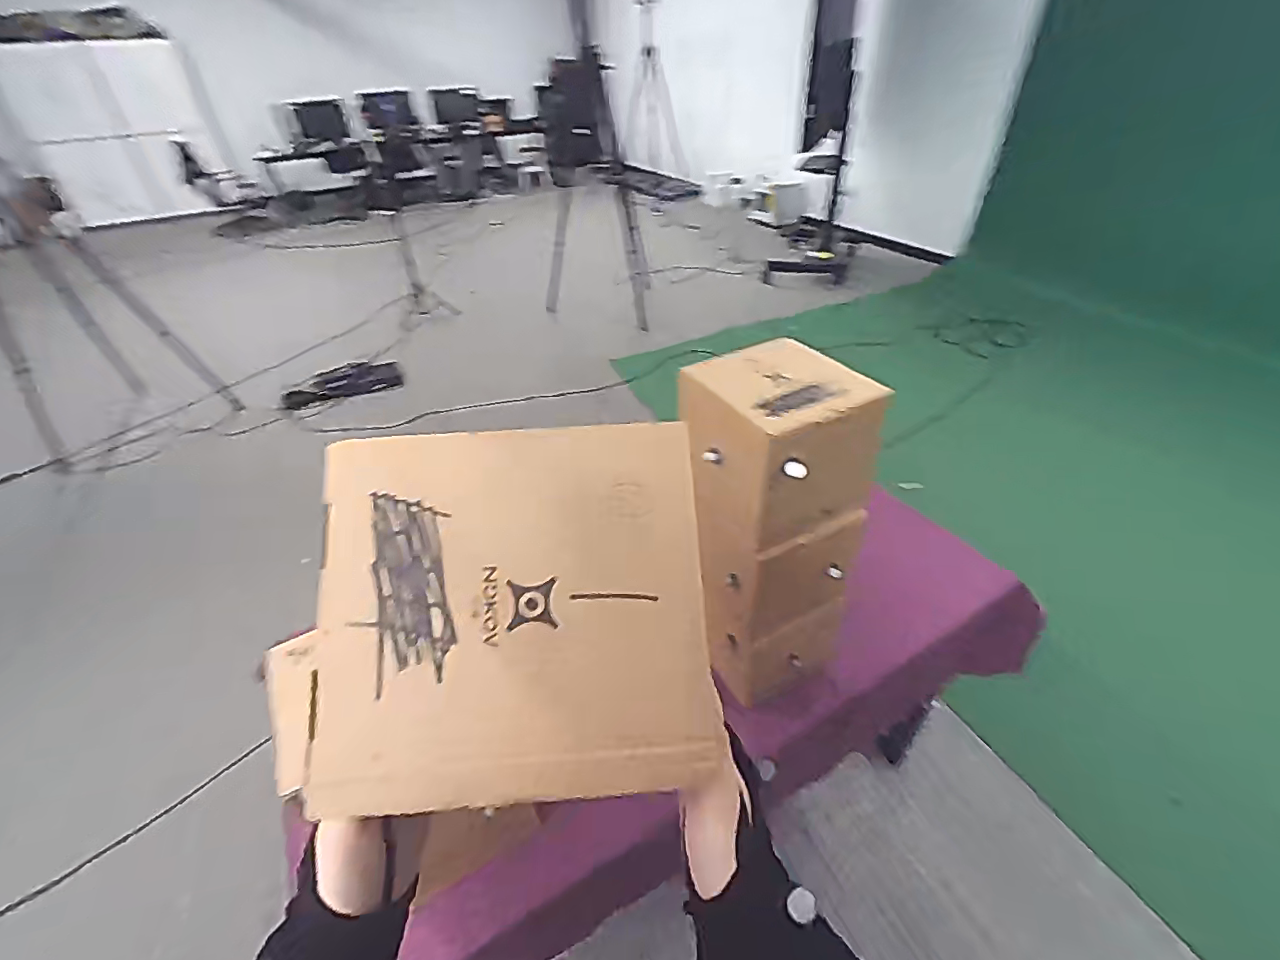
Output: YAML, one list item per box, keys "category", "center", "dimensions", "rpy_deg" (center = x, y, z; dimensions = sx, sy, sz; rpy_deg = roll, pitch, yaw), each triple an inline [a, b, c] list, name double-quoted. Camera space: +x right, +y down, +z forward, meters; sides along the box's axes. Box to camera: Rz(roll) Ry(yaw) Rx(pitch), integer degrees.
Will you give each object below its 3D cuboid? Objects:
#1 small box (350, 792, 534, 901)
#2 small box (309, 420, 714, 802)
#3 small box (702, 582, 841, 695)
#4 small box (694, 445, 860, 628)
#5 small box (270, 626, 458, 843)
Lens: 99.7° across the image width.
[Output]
- category: "small box"
  center: [-0.255, 0.384, 0.690]
  dimensions: [0.179, 0.176, 0.168]
  rpy_deg: [-23, 41, -23]
- category: "small box"
  center: [-0.058, 0.071, 0.324]
  dimensions: [0.179, 0.176, 0.168]
  rpy_deg: [-3, 78, -2]
- category: "small box"
  center: [0.185, 0.212, 0.860]
  dimensions: [0.168, 0.176, 0.179]
  rpy_deg: [-21, 41, -20]
- category: "small box"
  center: [0.174, 0.082, 0.761]
  dimensions: [0.168, 0.176, 0.179]
  rpy_deg: [-20, 40, -18]
- category: "small box"
  center: [-0.271, 0.255, 0.589]
  dimensions: [0.168, 0.176, 0.179]
  rpy_deg: [-23, 42, -23]
